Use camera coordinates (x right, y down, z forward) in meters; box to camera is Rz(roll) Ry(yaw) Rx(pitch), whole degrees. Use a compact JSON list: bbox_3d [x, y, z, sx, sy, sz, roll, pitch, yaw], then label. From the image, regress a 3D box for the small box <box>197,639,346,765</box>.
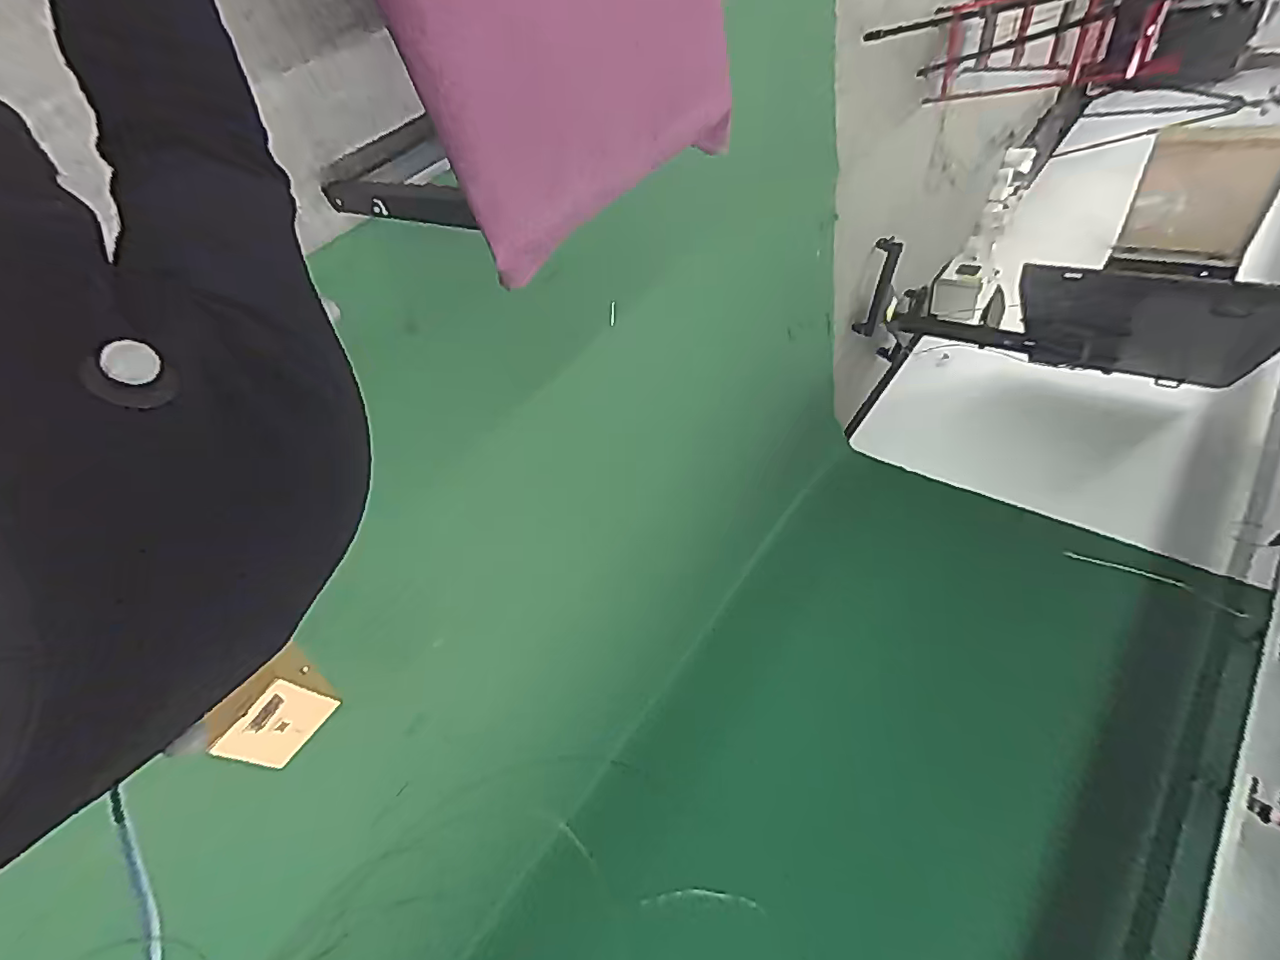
[{"bbox_3d":[-0.779,0.463,1.144,0.168,0.176,0.179,-50,143,-18],"label":"small box"}]
